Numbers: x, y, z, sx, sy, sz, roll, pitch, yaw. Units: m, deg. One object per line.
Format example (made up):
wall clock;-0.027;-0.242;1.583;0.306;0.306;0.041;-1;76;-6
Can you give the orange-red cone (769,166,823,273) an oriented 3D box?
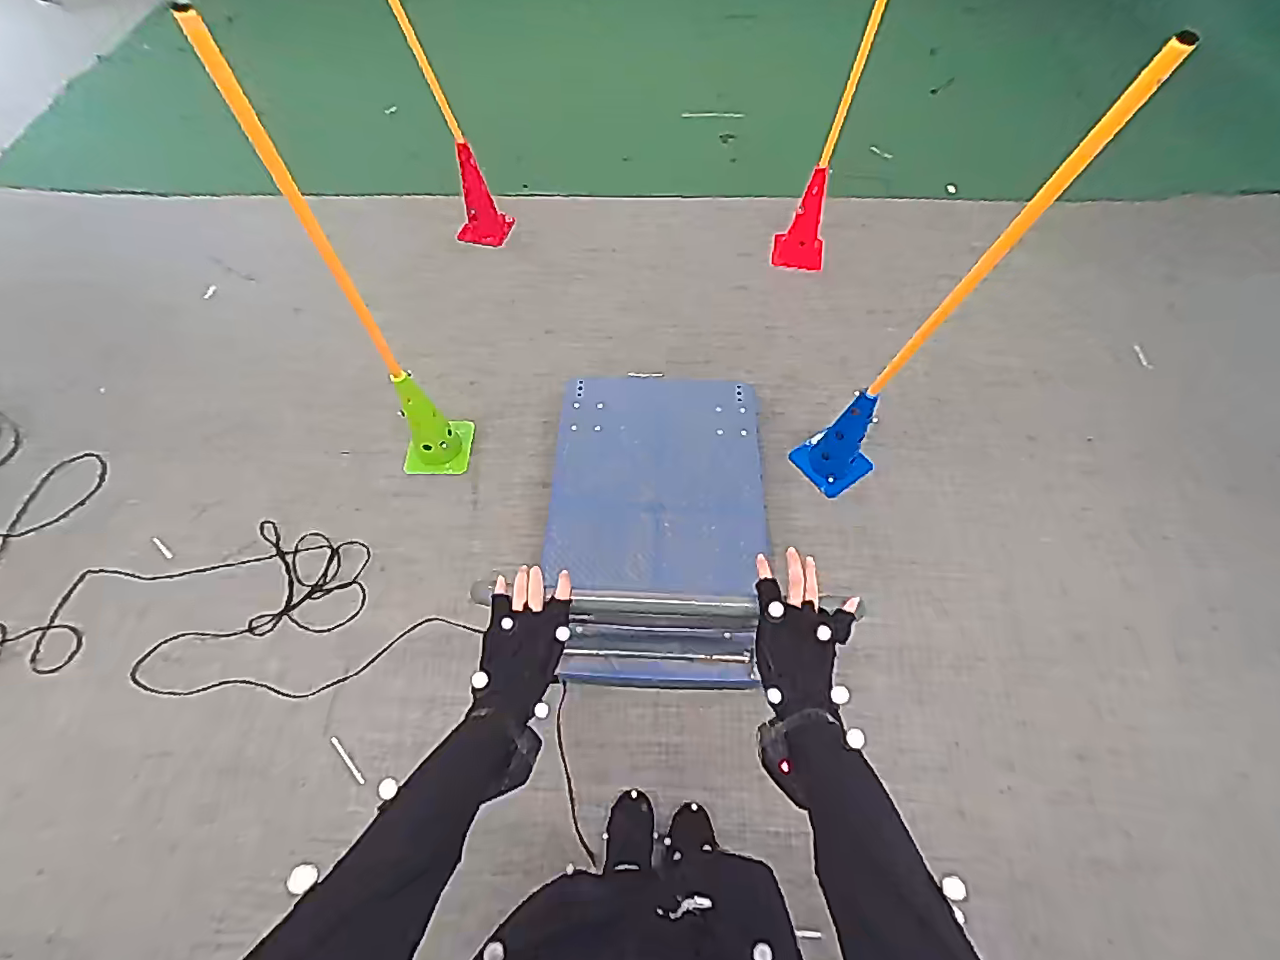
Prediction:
orange-red cone;0.625;-0.997;2.038;0.198;0.360;0.199;10;62;7
